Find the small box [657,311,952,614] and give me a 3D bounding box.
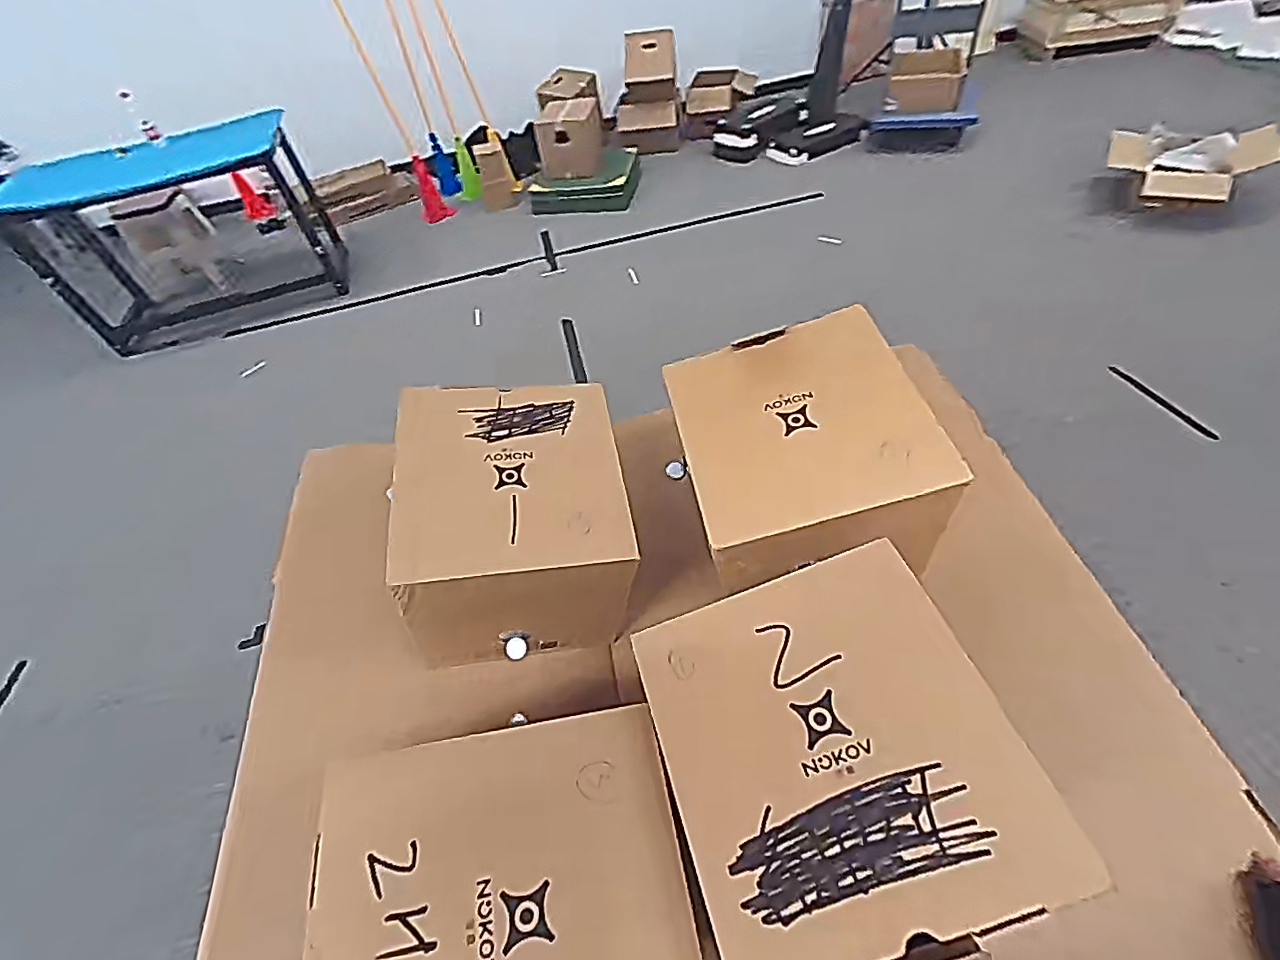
[{"bbox_3d":[0.125,-0.002,0.456,0.168,0.176,0.179,-17,54,5],"label":"small box"}]
